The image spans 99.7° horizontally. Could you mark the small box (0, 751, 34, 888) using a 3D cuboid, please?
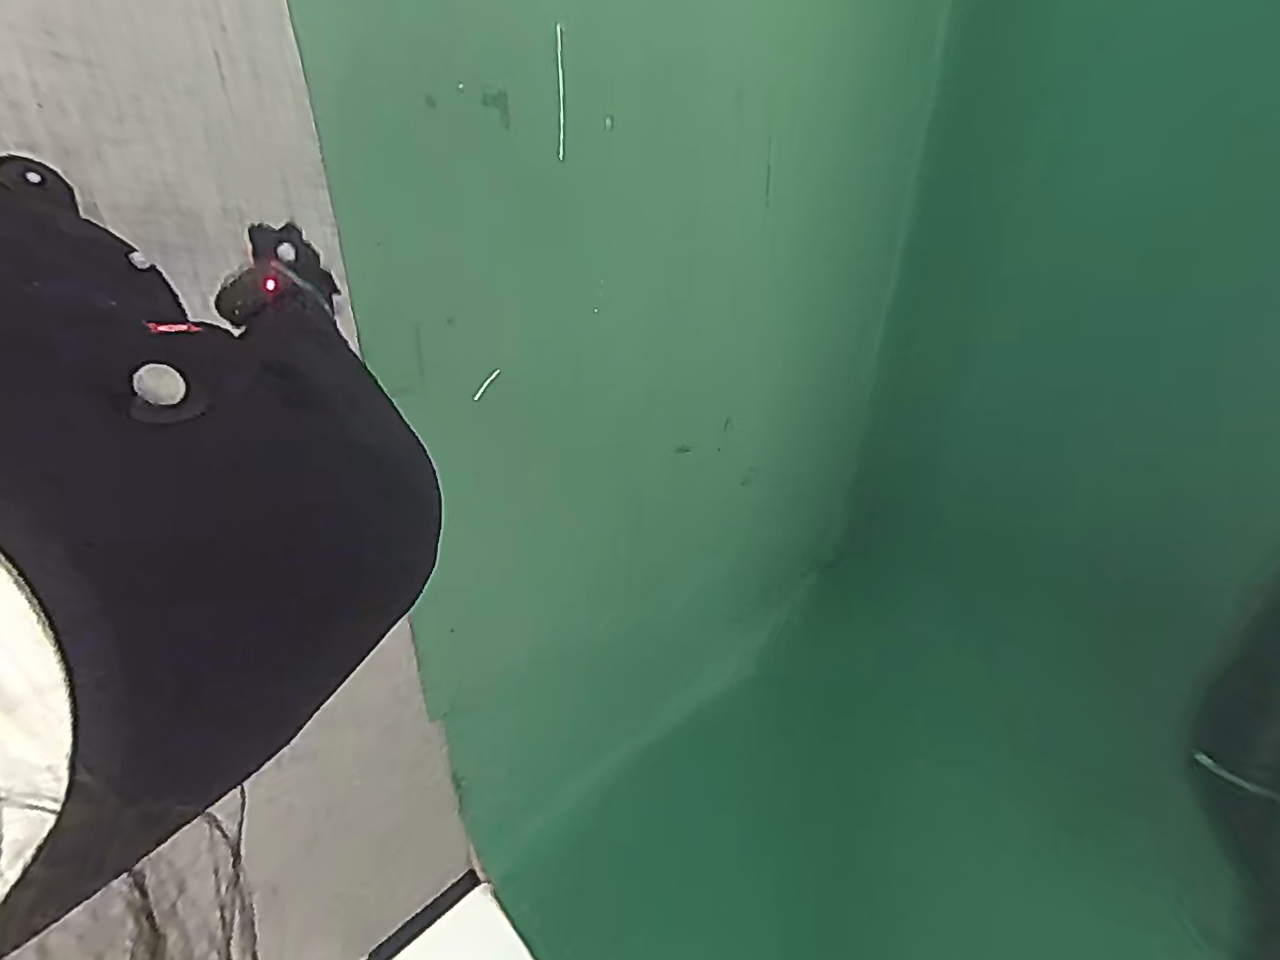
[{"bbox_3d":[-1.193,0.615,0.926,0.179,0.176,0.168,-17,122,-42],"label":"small box"}]
